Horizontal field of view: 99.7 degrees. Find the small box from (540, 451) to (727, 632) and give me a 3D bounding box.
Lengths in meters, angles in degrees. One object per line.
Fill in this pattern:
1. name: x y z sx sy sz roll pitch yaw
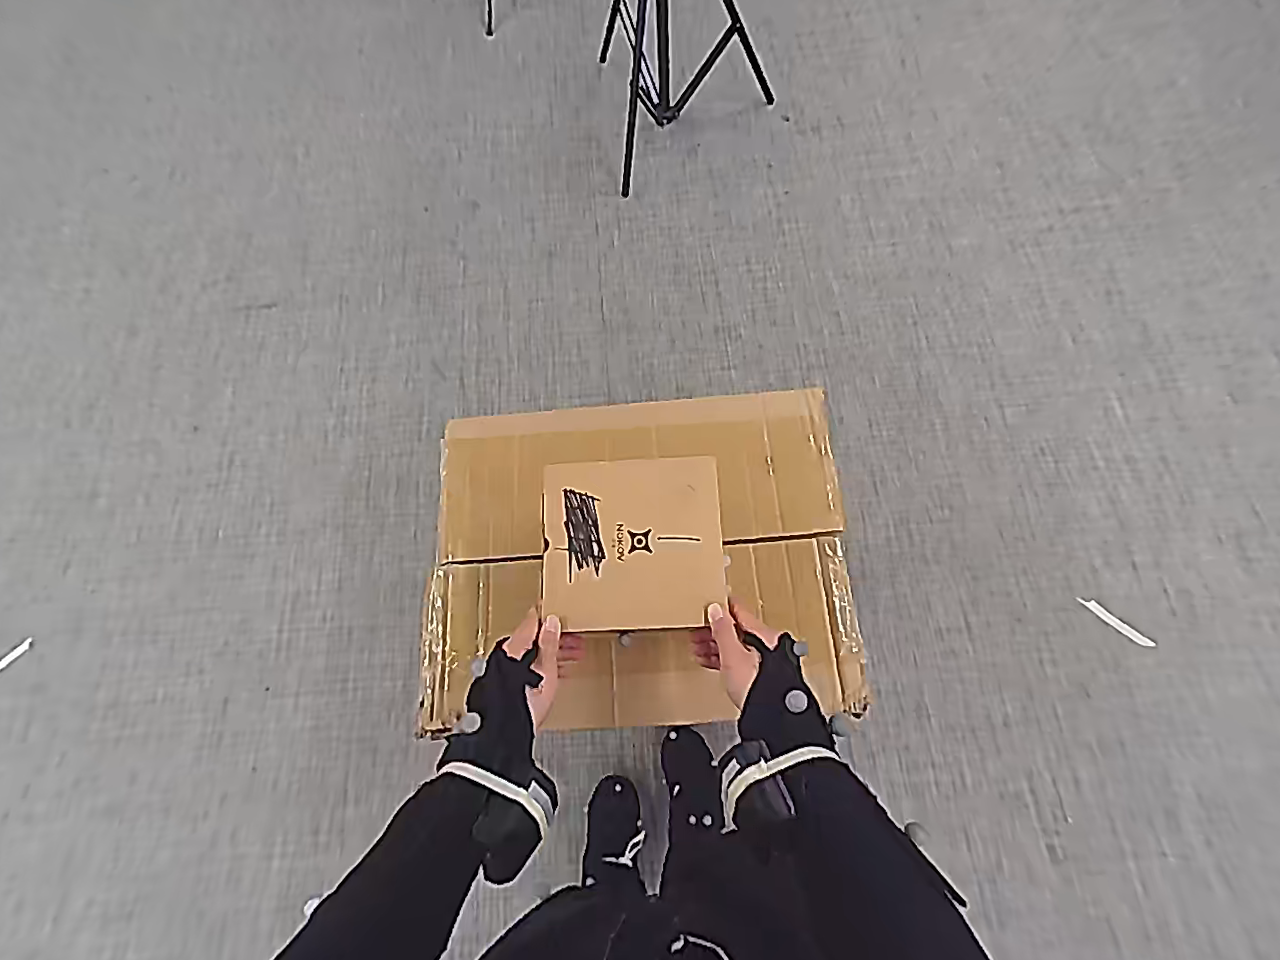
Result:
1. small box: -0.003 0.077 0.595 0.179 0.176 0.168 -3 72 3
